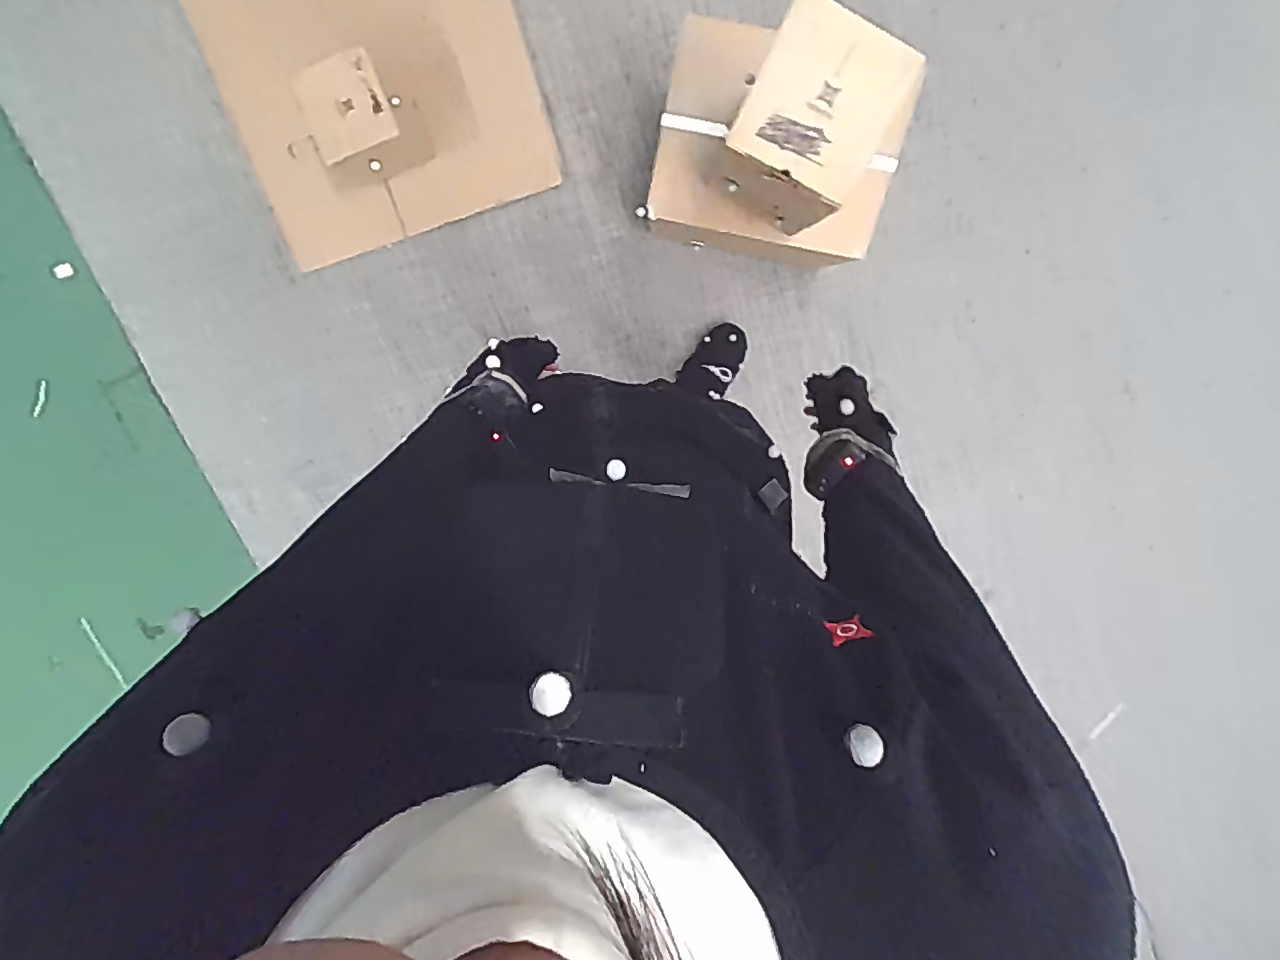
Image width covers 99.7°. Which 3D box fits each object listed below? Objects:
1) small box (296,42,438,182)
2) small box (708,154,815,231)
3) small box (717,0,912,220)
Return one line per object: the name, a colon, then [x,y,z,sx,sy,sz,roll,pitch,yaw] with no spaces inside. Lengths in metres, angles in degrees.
small box: [-0.570,-0.767,1.152,0.179,0.176,0.168,-19,103,11]
small box: [0.224,-0.520,0.865,0.179,0.176,0.168,27,107,-3]
small box: [0.209,-0.467,0.710,0.168,0.176,0.179,24,108,-4]
